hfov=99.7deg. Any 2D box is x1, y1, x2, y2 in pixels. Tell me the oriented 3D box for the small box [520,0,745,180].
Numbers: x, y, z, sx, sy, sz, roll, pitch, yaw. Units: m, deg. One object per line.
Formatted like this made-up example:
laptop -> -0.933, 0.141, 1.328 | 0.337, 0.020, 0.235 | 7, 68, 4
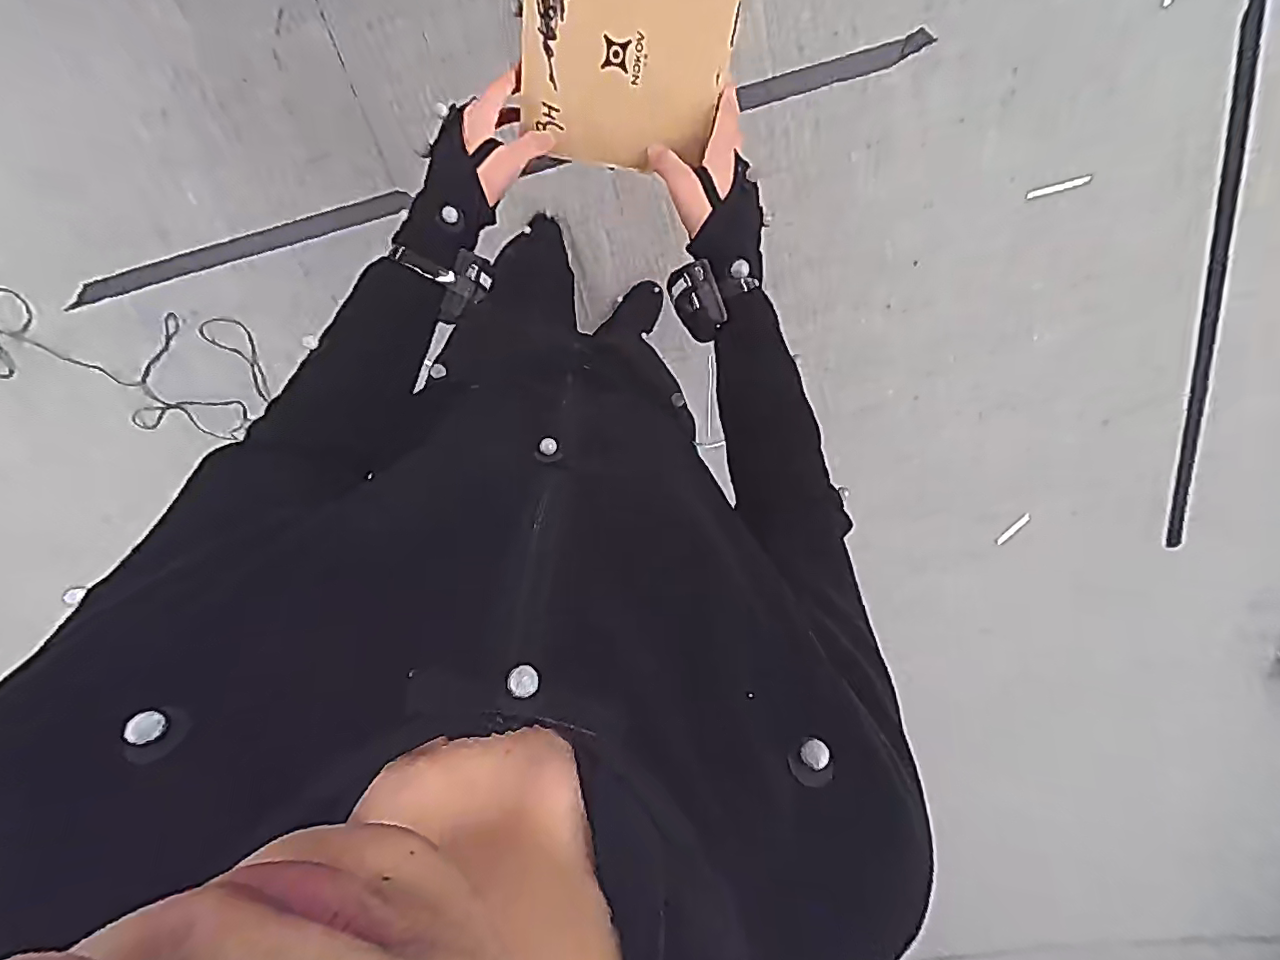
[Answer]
small box -> -0.014, -0.405, 0.513 | 0.179, 0.176, 0.168 | 6, 127, -8
